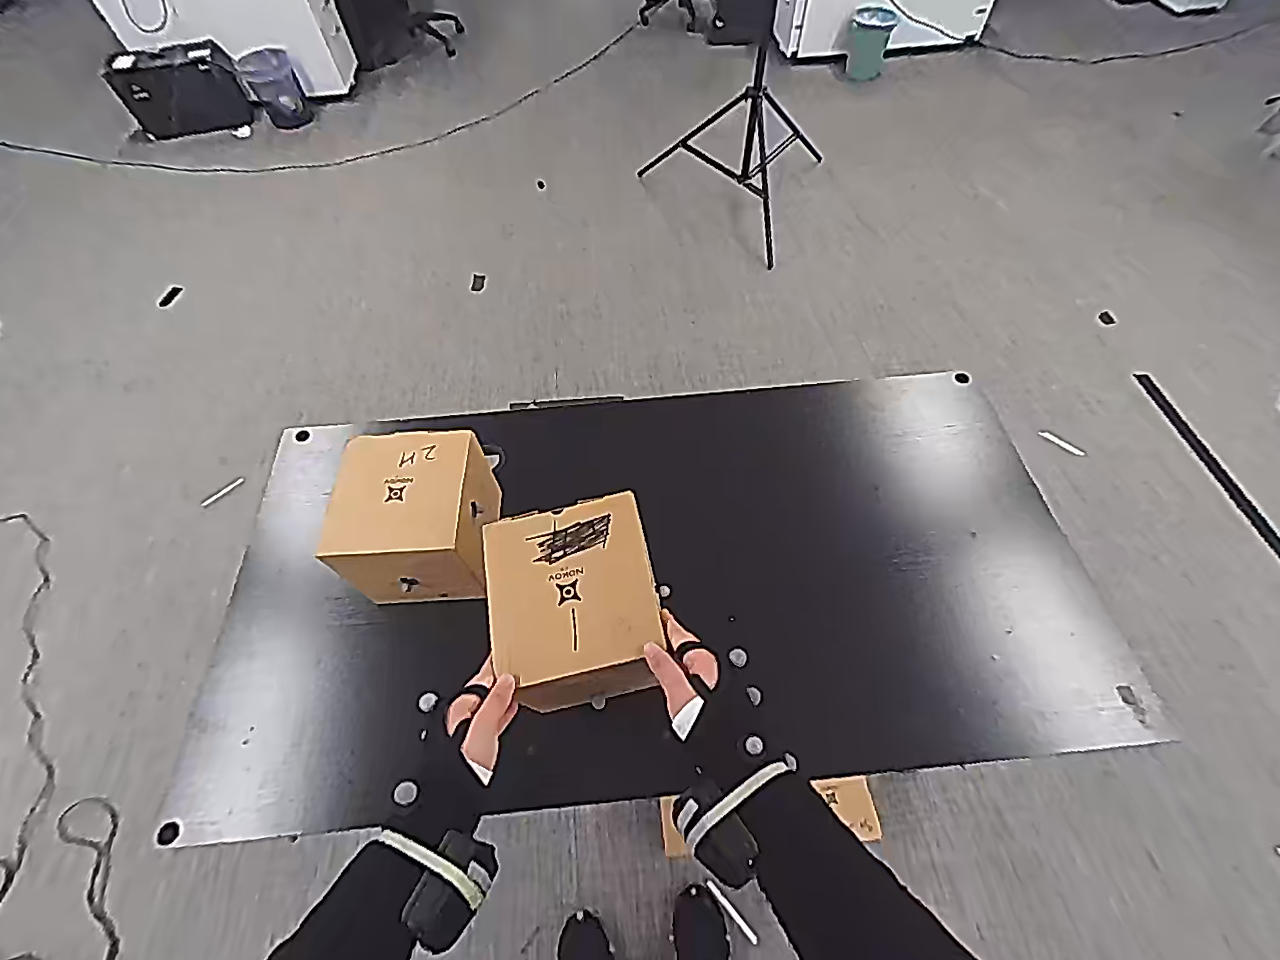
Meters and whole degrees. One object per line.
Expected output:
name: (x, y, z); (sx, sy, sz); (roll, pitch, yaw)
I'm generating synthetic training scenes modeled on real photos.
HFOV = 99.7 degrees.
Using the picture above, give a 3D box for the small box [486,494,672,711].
small box: (-0.063, 0.143, 0.609); (0.168, 0.176, 0.179); (-13, 60, 0)

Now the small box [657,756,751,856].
small box: (0.130, 0.708, 1.179); (0.179, 0.176, 0.168); (-7, 57, -1)

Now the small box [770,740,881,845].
small box: (0.392, 0.685, 1.181); (0.168, 0.176, 0.179); (-7, 57, -1)

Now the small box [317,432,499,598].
small box: (-0.299, 0.055, 0.741); (0.168, 0.176, 0.179); (-3, 58, -1)
